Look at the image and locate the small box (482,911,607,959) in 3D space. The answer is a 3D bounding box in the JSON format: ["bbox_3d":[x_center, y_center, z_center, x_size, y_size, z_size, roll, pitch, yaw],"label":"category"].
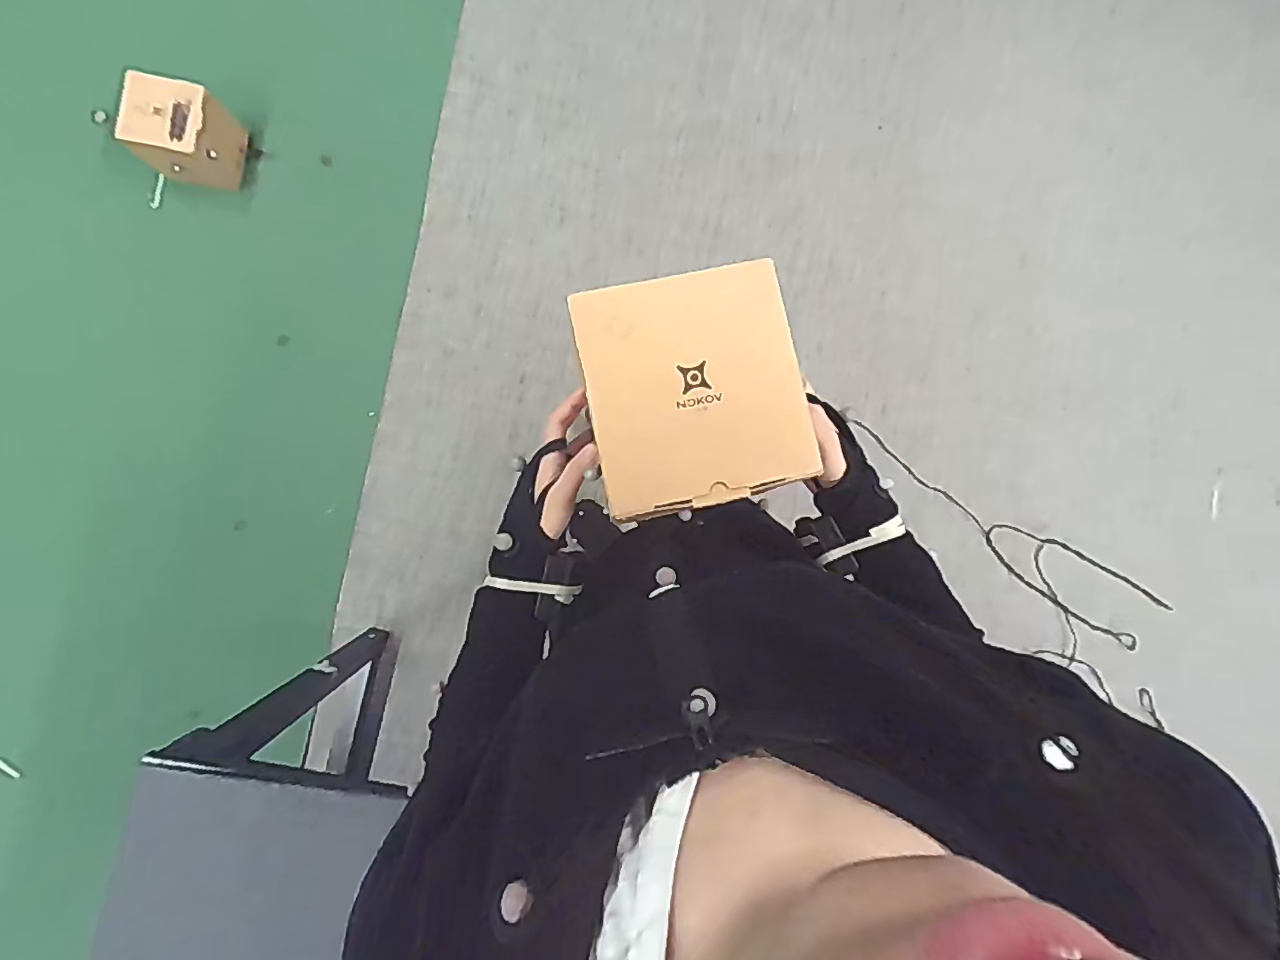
[{"bbox_3d":[-0.130,0.687,0.662,0.168,0.176,0.179,12,88,-7],"label":"small box"}]

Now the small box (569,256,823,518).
[{"bbox_3d":[0.035,-0.067,0.485,0.168,0.176,0.179,-13,86,-5],"label":"small box"}]
